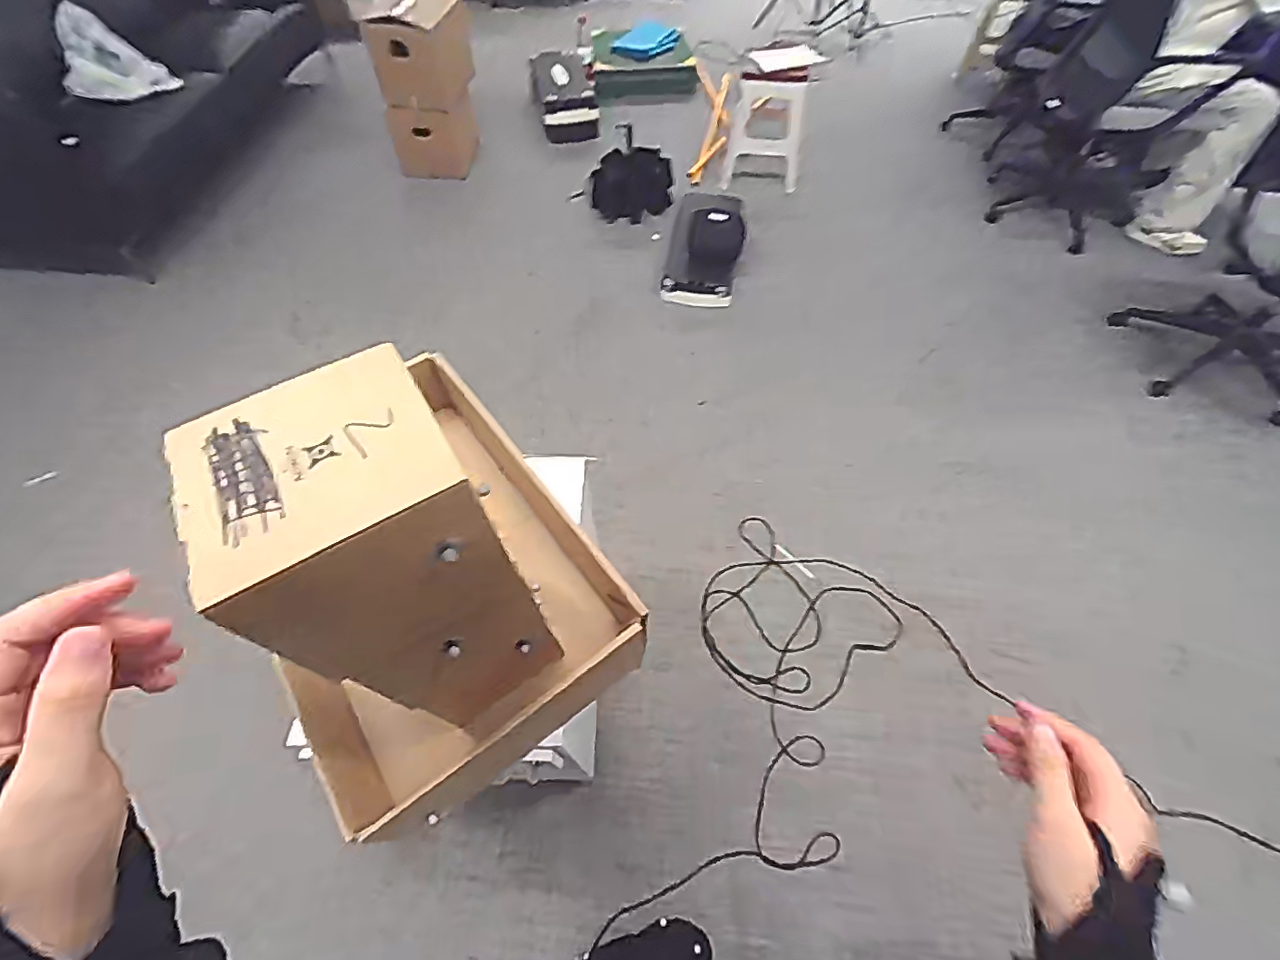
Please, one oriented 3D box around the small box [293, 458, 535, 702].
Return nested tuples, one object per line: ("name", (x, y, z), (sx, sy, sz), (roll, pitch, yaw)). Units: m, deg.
("small box", (-0.233, 0.114, 0.601), (0.179, 0.176, 0.168), (-32, 60, -17))
